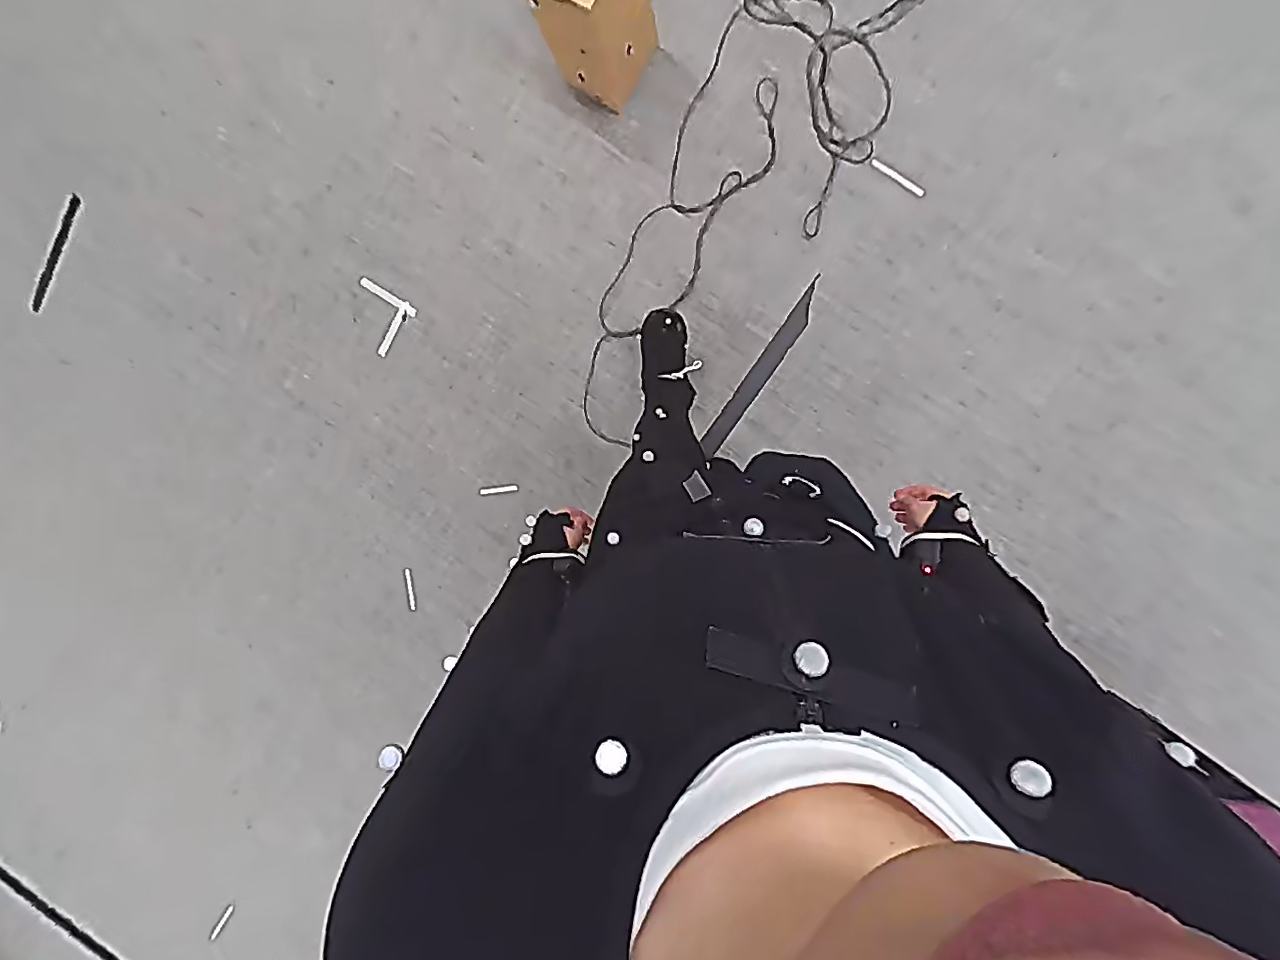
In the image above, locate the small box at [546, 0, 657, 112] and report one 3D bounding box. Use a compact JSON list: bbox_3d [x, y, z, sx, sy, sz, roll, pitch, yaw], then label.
[{"bbox_3d":[-0.075,-0.973,1.203,0.168,0.176,0.179,33,100,3],"label":"small box"}]
